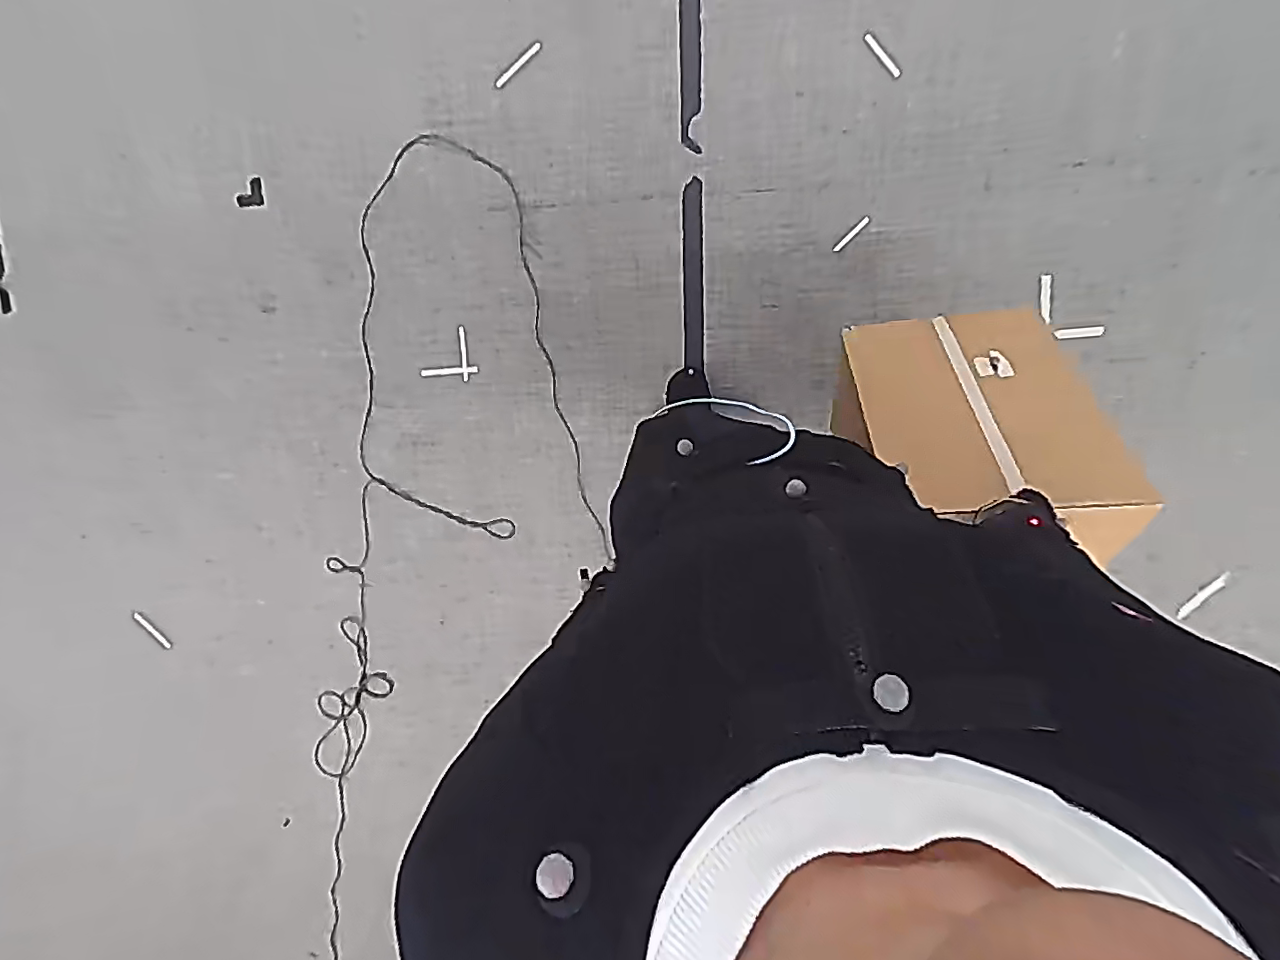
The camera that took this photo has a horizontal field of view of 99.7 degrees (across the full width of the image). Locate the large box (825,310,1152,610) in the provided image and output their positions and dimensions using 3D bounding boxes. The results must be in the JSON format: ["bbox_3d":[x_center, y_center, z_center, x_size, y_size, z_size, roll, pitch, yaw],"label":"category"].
[{"bbox_3d":[0.518,-0.030,0.925,0.320,0.408,0.320,-3,140,9],"label":"large box"}]
